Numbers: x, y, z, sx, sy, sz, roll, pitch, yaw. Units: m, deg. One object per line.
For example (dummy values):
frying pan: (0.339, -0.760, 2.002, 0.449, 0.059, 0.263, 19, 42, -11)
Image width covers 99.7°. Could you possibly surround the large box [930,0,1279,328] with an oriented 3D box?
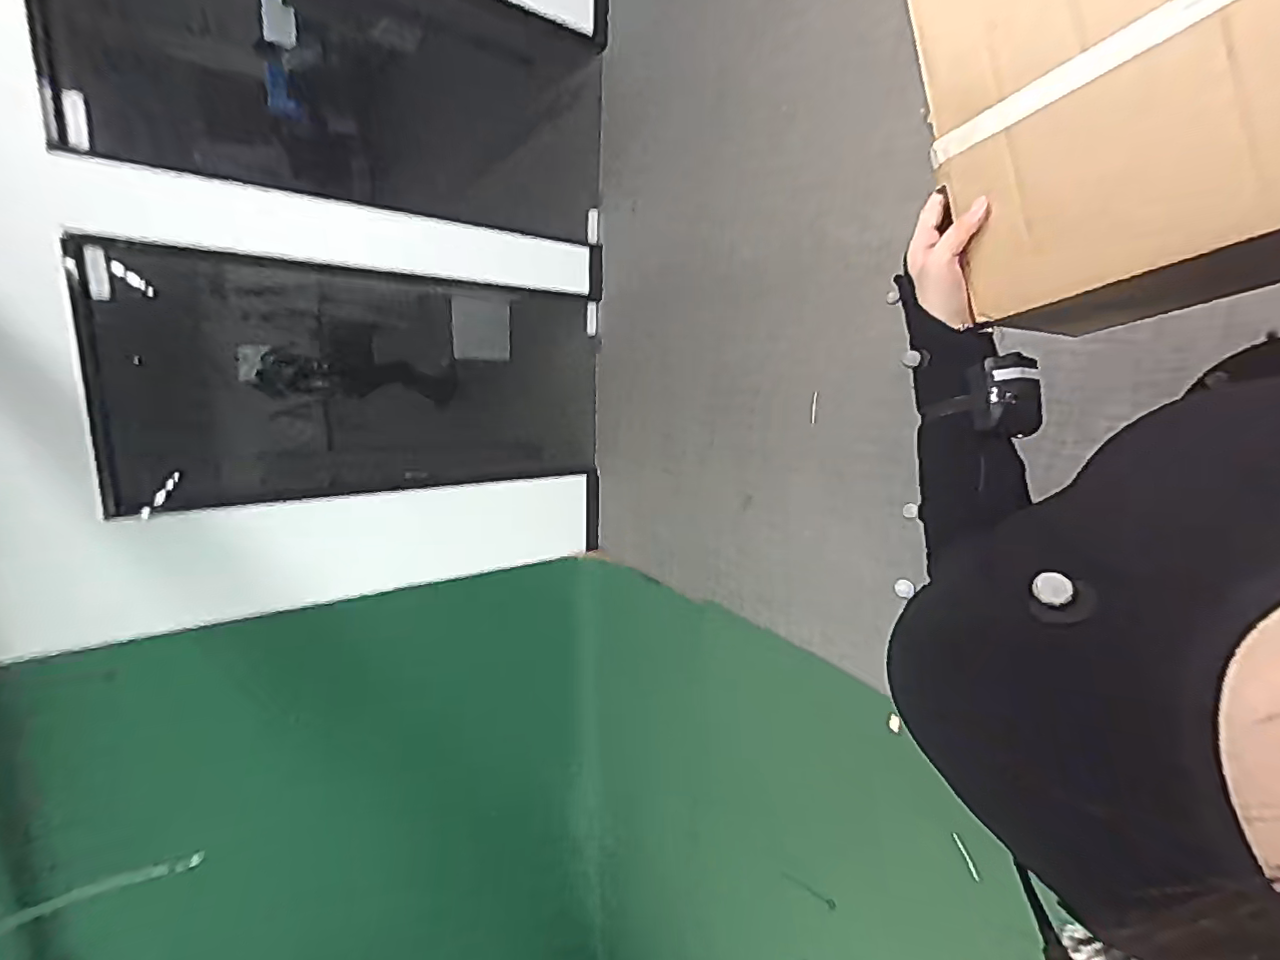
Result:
large box: (0.510, -0.340, 0.411, 0.408, 0.320, 0.320, -12, 88, 50)
